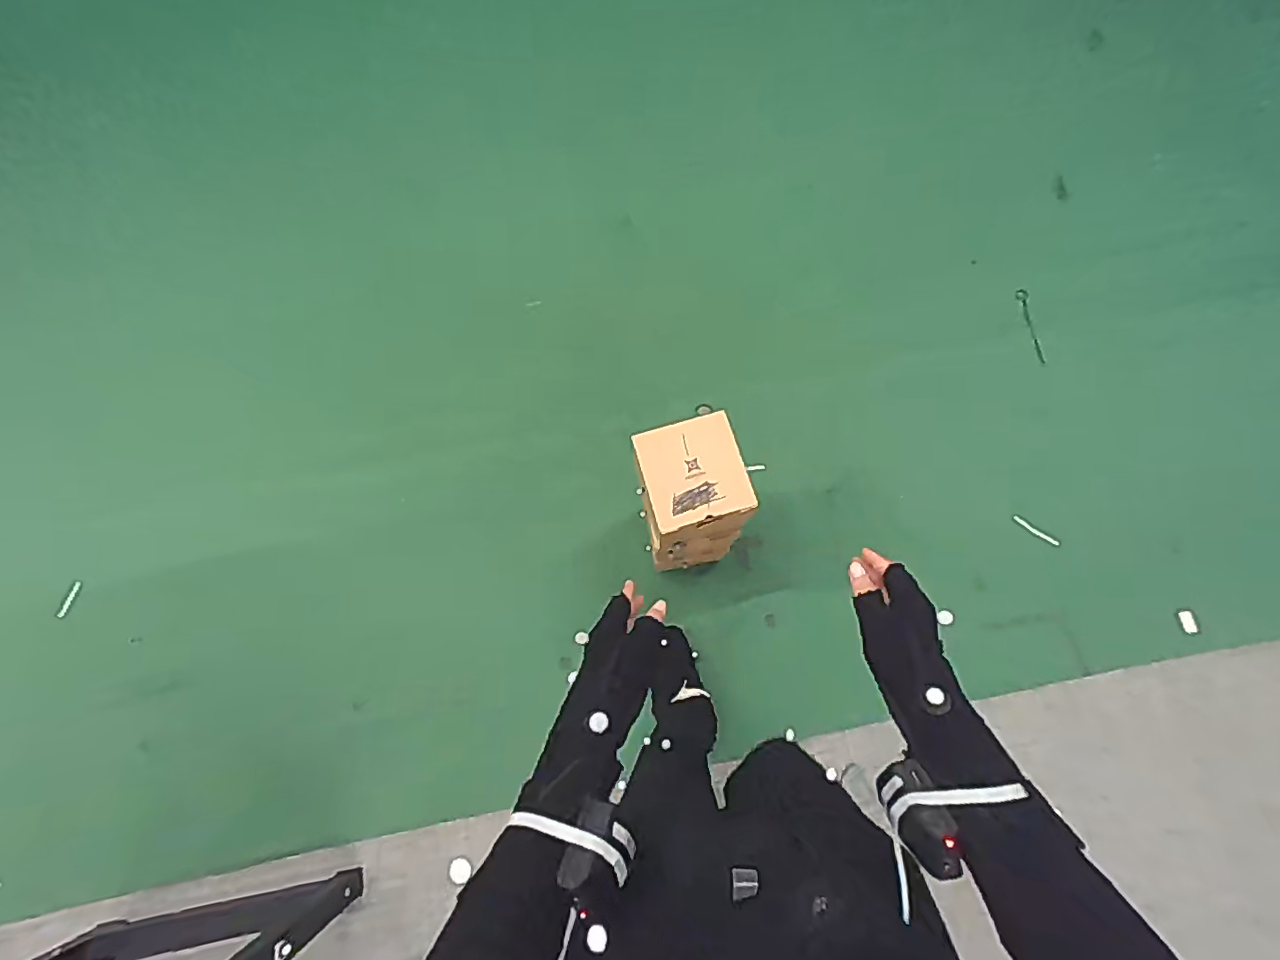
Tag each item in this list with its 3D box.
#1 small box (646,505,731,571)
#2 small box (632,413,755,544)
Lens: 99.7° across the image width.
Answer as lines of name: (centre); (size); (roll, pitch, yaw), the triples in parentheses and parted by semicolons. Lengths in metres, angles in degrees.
small box: (0.106, 0.107, 1.277); (0.168, 0.176, 0.179); (-11, 75, -1)
small box: (0.091, 0.008, 0.964); (0.168, 0.176, 0.179); (-16, 74, -3)
